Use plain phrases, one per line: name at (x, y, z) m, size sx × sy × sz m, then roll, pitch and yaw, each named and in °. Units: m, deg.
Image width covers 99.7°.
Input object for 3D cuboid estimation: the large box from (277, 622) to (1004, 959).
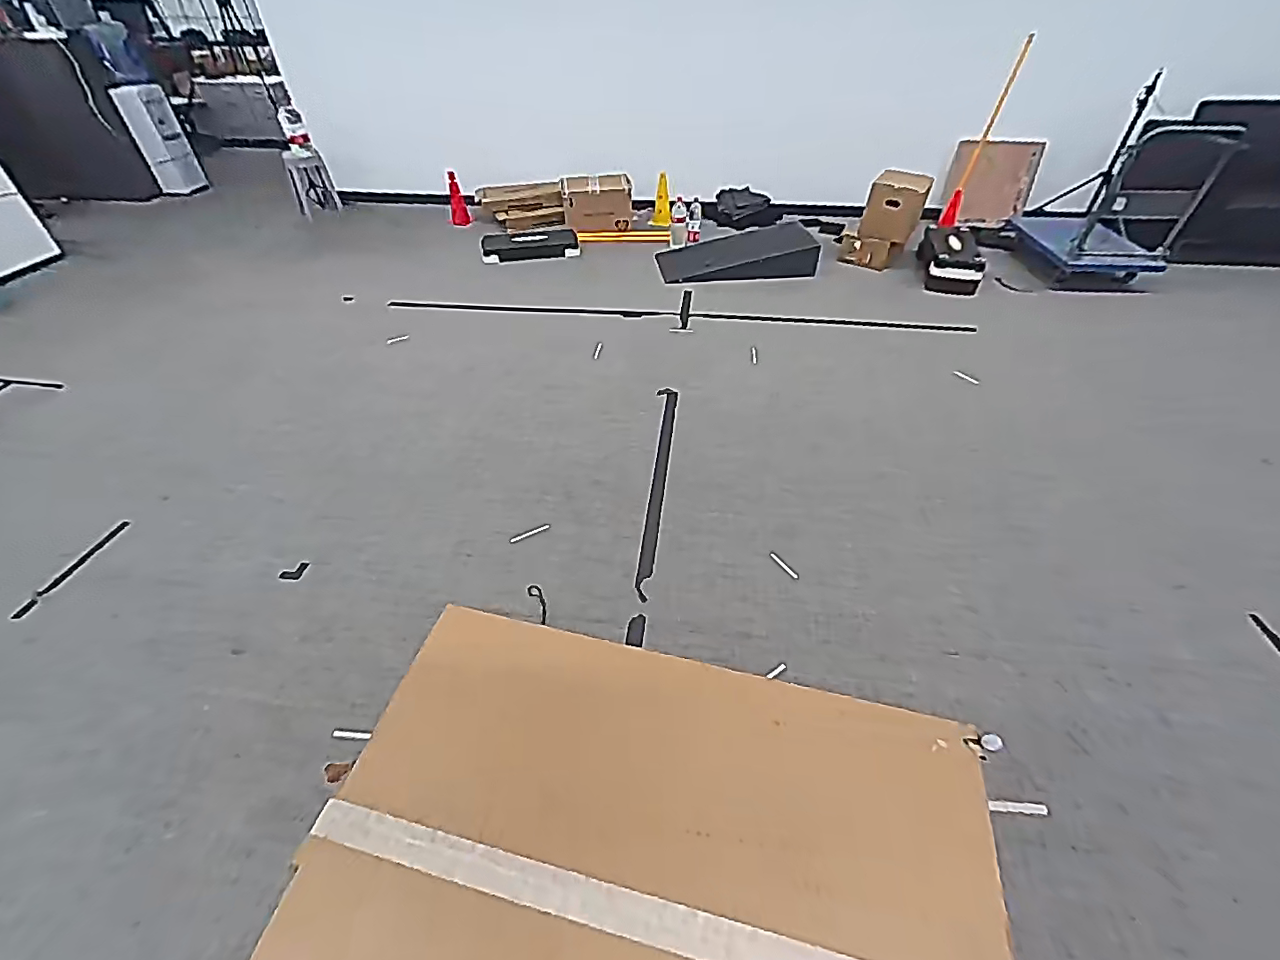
large box at (0.003, 0.357, 0.424) m, size 0.408 × 0.320 × 0.320 m, roll 10°, pitch 48°, yaw 9°
